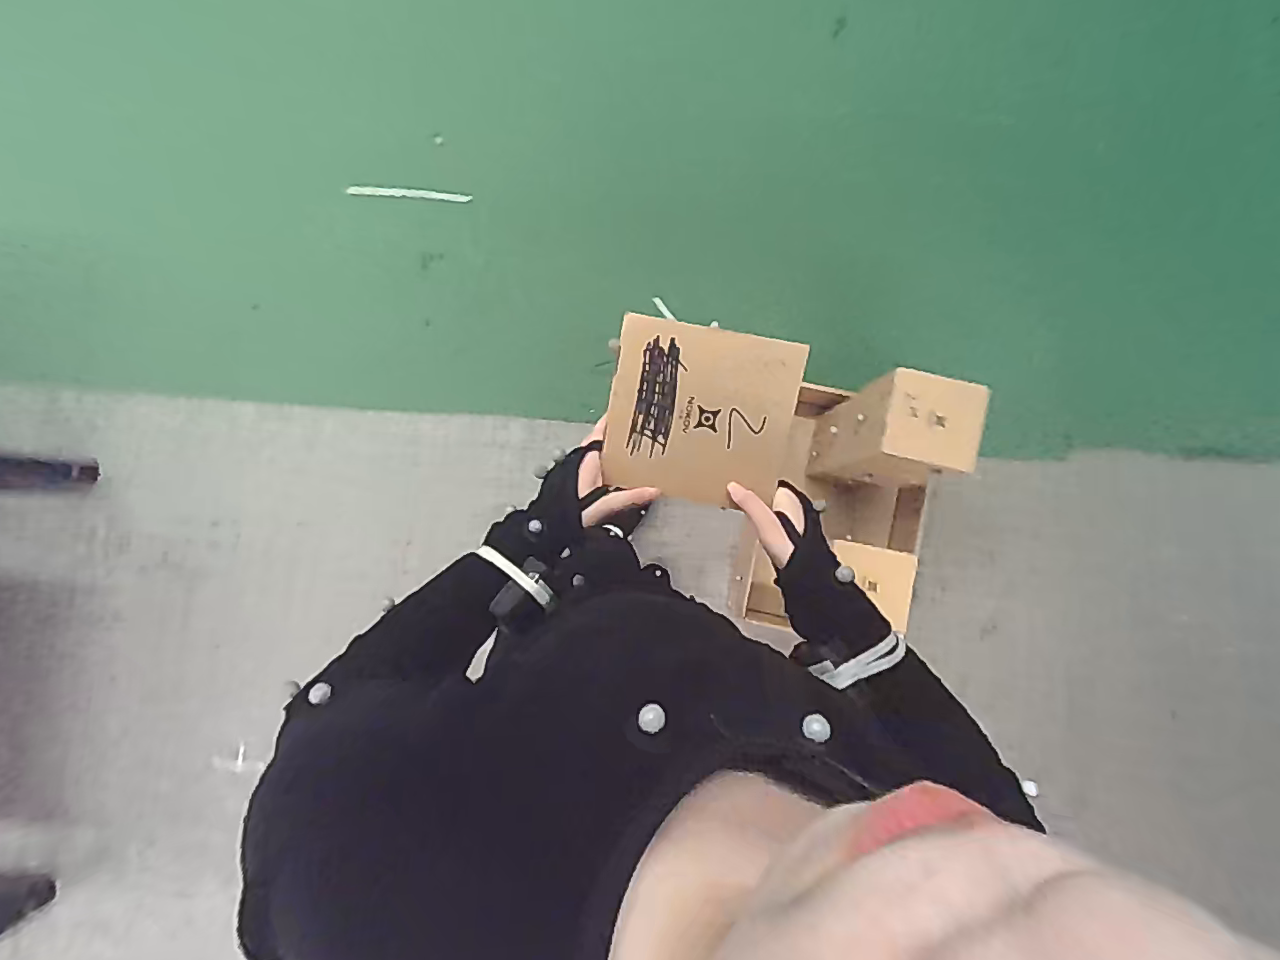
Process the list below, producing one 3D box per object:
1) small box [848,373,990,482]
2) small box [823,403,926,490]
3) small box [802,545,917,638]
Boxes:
[{"bbox_3d":[0.544,-0.095,1.073,0.179,0.176,0.168,14,86,2],"label":"small box"},{"bbox_3d":[0.547,-0.077,1.237,0.179,0.176,0.168,16,86,3],"label":"small box"},{"bbox_3d":[0.480,0.240,1.206,0.179,0.176,0.168,11,84,3],"label":"small box"}]
